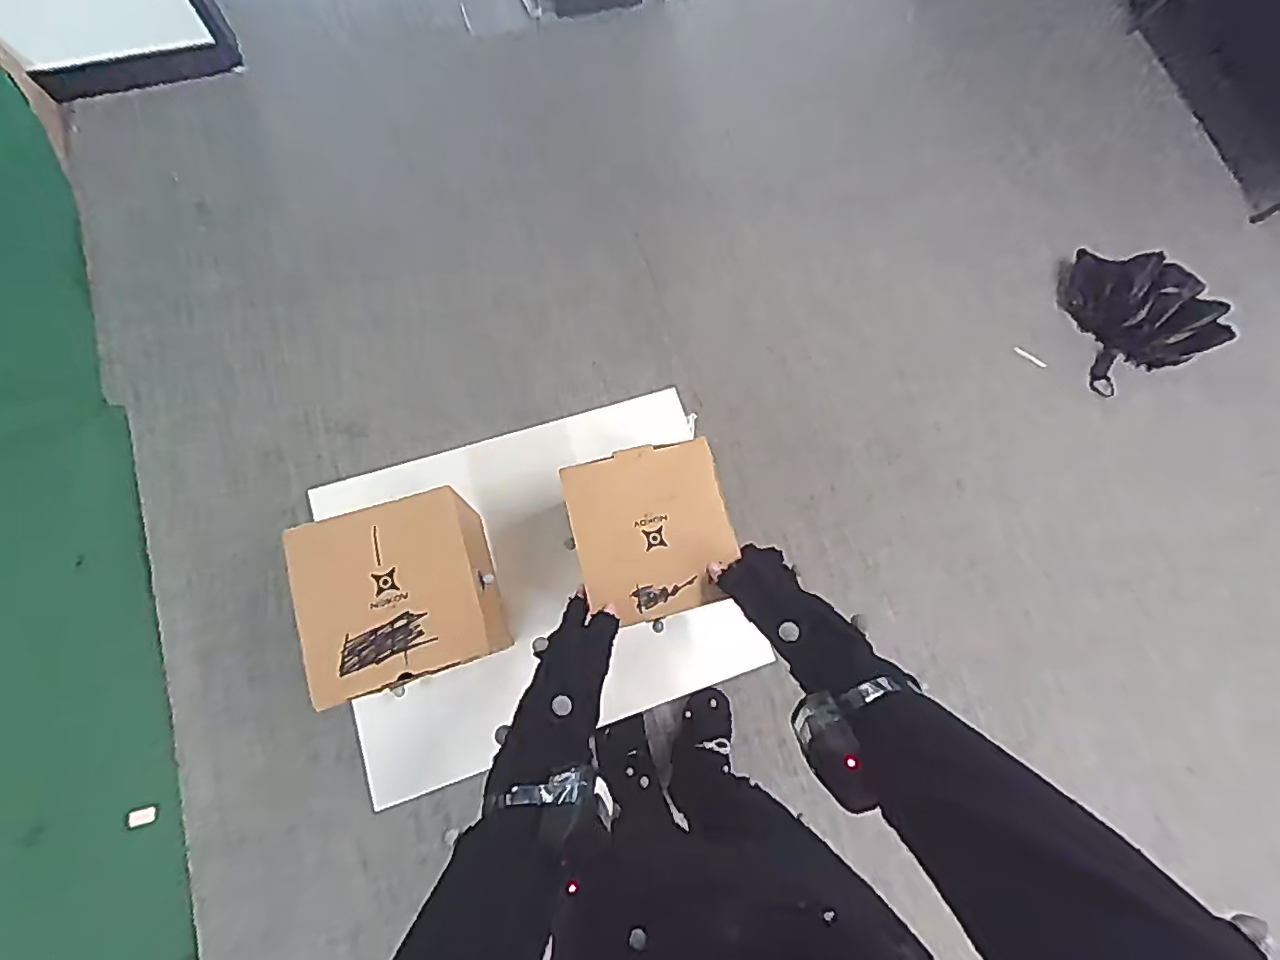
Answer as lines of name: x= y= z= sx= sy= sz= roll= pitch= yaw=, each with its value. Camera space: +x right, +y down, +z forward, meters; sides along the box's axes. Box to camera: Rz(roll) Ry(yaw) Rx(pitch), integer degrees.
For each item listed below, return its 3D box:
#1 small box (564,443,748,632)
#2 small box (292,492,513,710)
small box: x=0.008 y=0.076 z=0.644 sx=0.168 sy=0.176 sz=0.179 roll=-13 pitch=76 yaw=-7
small box: x=-0.250 y=0.132 z=0.607 sx=0.168 sy=0.176 sz=0.179 roll=-16 pitch=77 yaw=-10
